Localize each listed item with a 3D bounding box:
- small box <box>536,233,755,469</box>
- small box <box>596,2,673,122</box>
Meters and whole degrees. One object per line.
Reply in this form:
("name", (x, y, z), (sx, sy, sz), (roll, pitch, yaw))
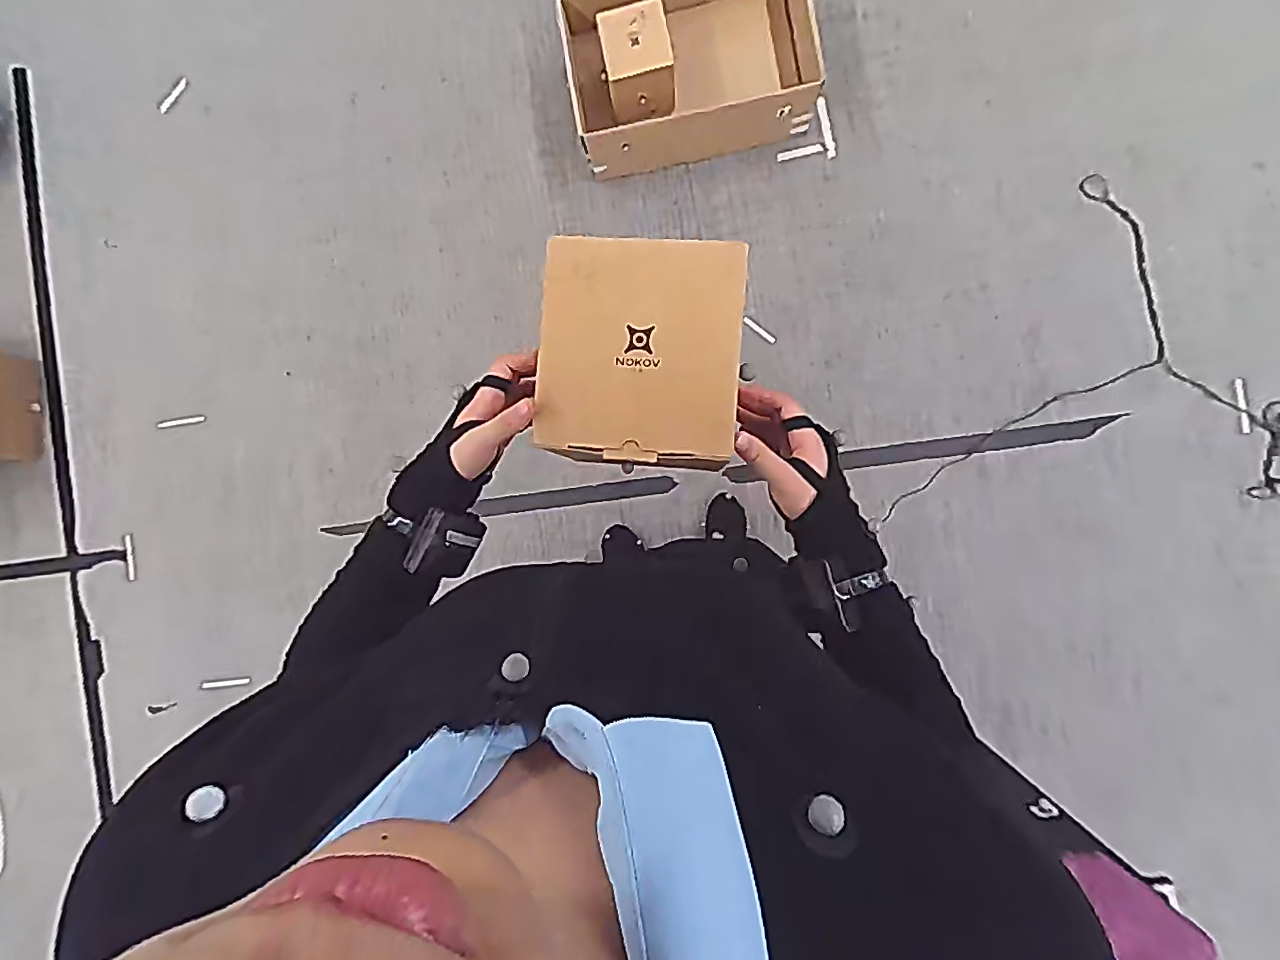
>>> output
("small box", (0.009, -0.106, 0.511), (0.168, 0.176, 0.179), (4, 90, 4))
("small box", (-0.009, -1.070, 1.405), (0.168, 0.176, 0.179), (-11, 88, 4))
